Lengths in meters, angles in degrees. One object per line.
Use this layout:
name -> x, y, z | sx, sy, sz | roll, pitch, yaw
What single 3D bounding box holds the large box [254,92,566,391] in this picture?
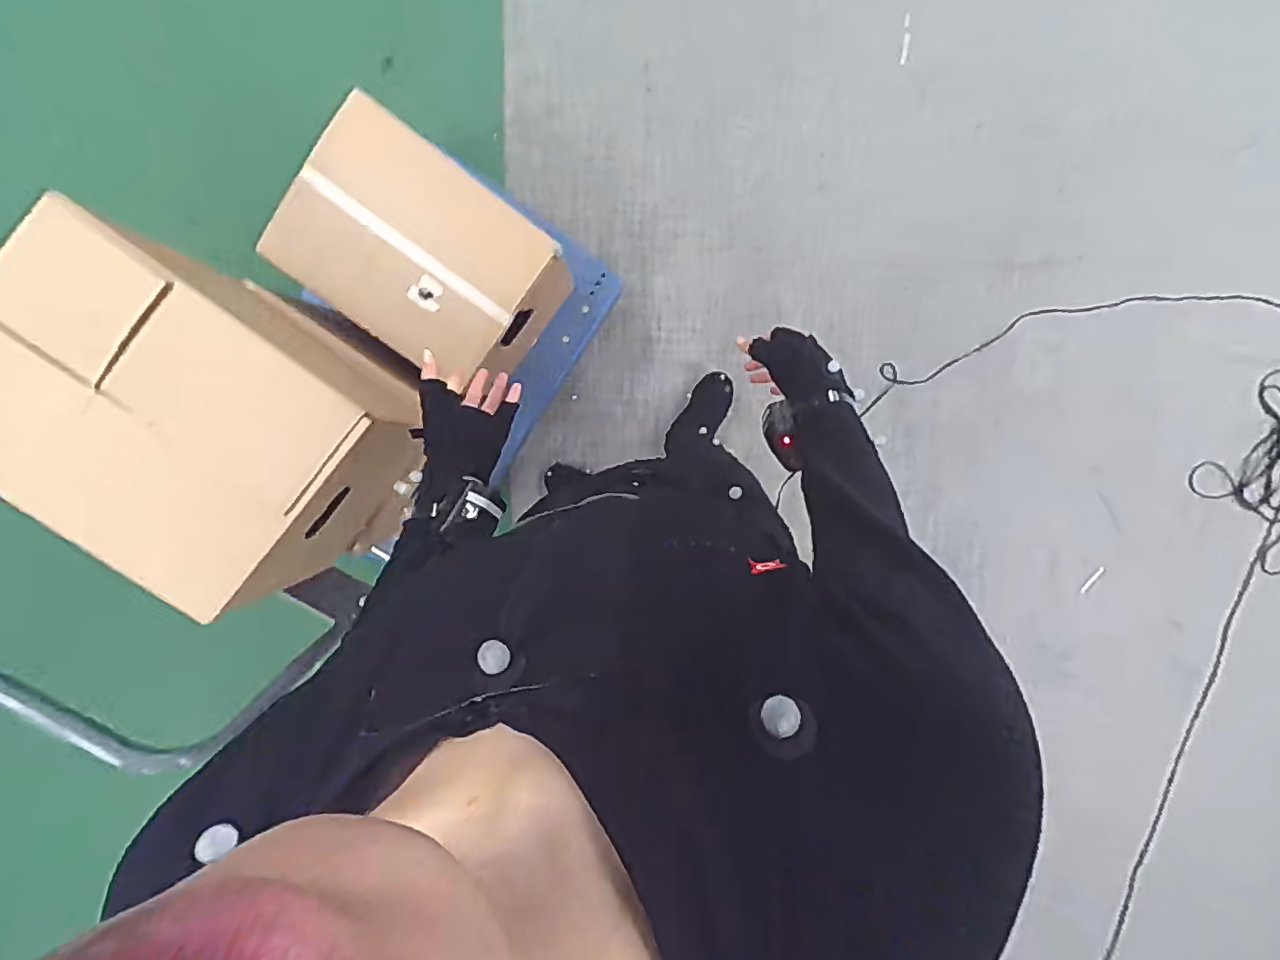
large box -> -0.398, -0.412, 1.047 | 0.408, 0.320, 0.320 | 36, 95, -8
